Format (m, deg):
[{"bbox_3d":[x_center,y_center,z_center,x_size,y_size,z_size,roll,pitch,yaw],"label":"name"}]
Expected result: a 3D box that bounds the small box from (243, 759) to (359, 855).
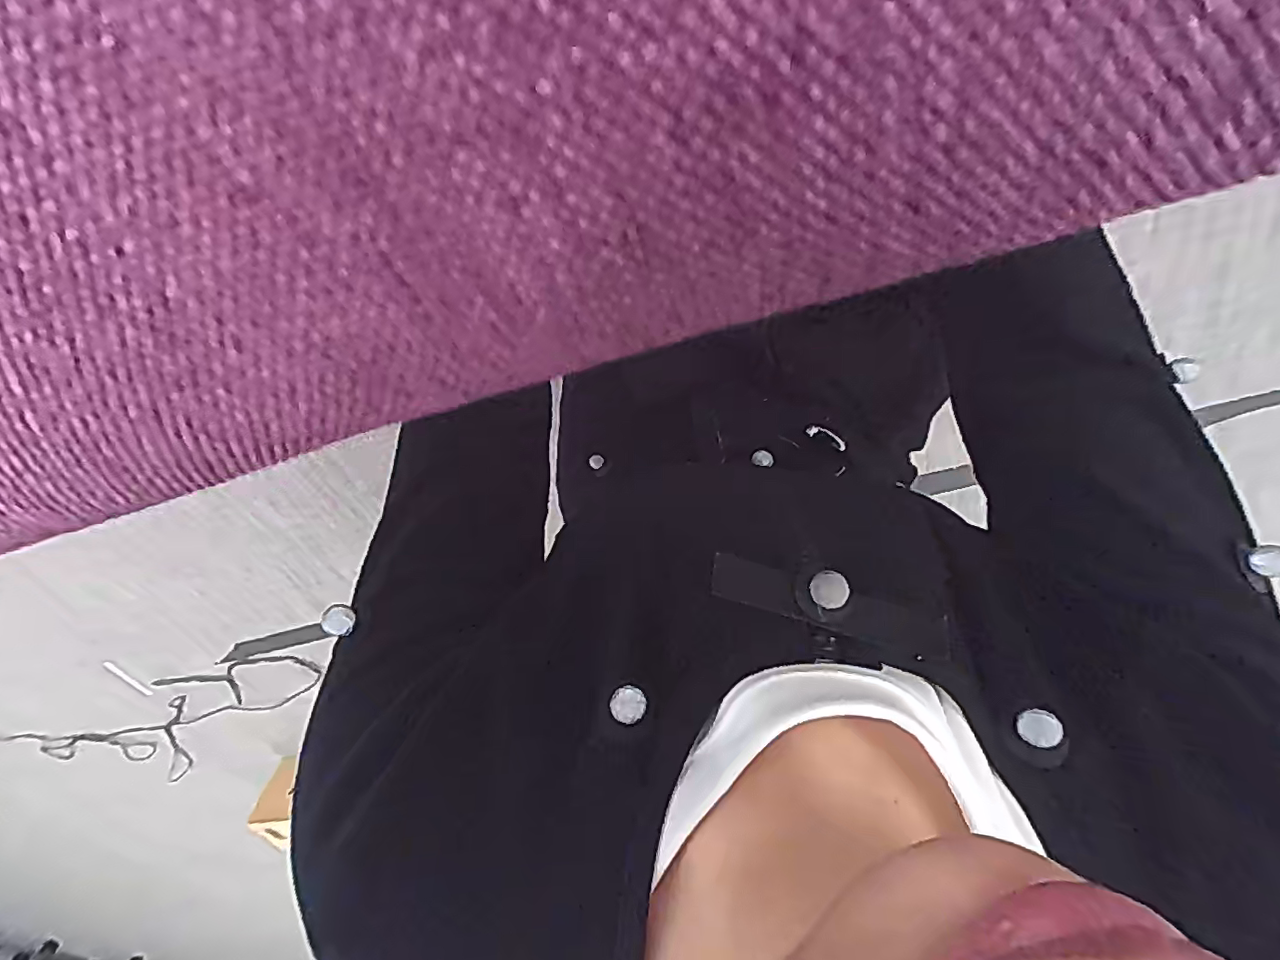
[{"bbox_3d":[-0.917,0.894,1.482,0.179,0.176,0.168,-11,124,8],"label":"small box"}]
